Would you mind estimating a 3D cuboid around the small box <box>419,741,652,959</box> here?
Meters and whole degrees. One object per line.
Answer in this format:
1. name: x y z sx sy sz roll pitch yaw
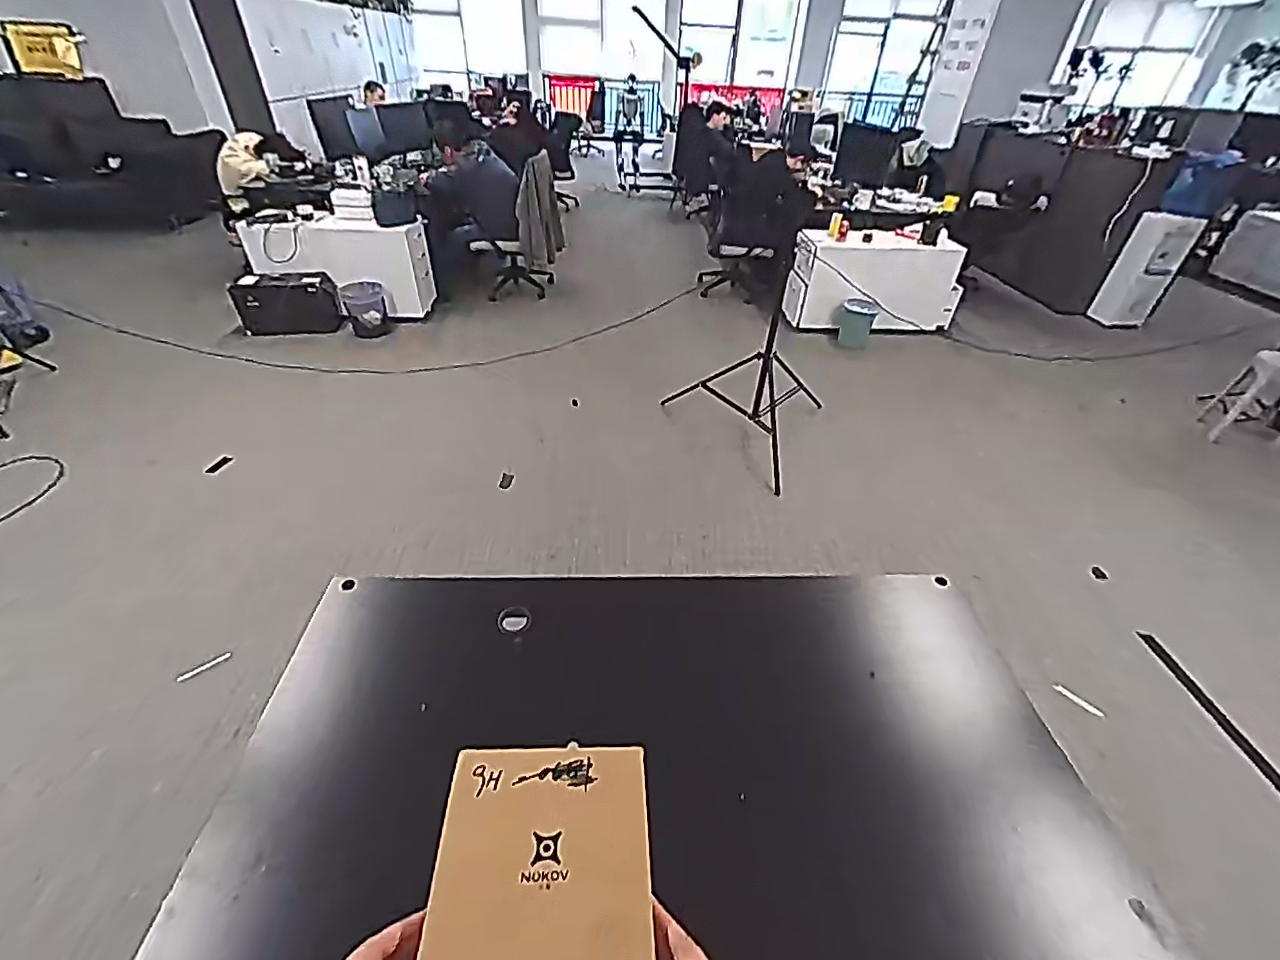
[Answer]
1. small box: -0.079 0.356 0.476 0.168 0.176 0.179 1 39 -5
